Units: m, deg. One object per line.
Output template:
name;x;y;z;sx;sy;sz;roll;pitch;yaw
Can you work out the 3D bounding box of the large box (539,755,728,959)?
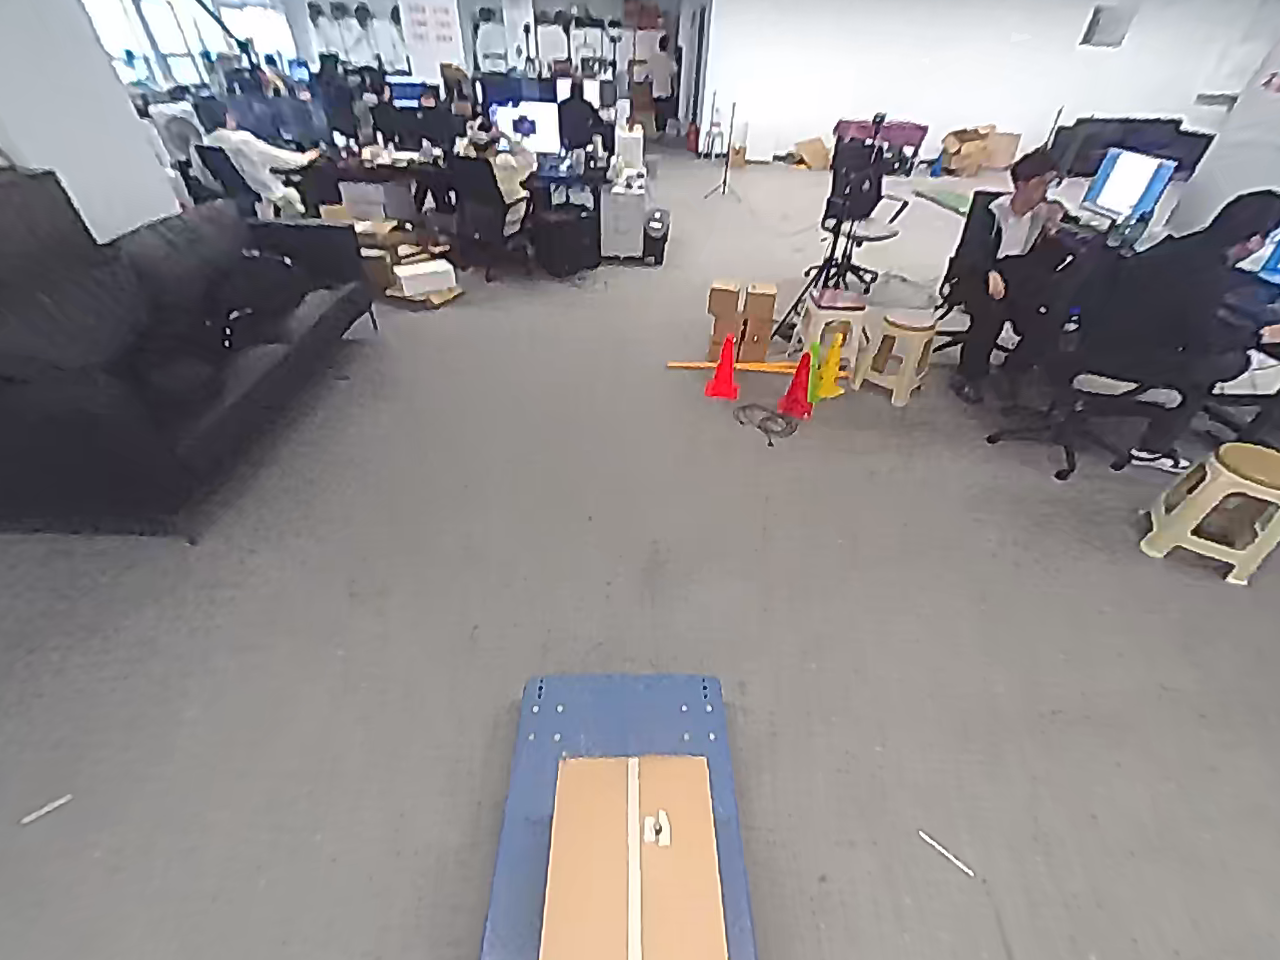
large box;-0.018;0.825;1.077;0.320;0.320;0.408;1;38;-2
